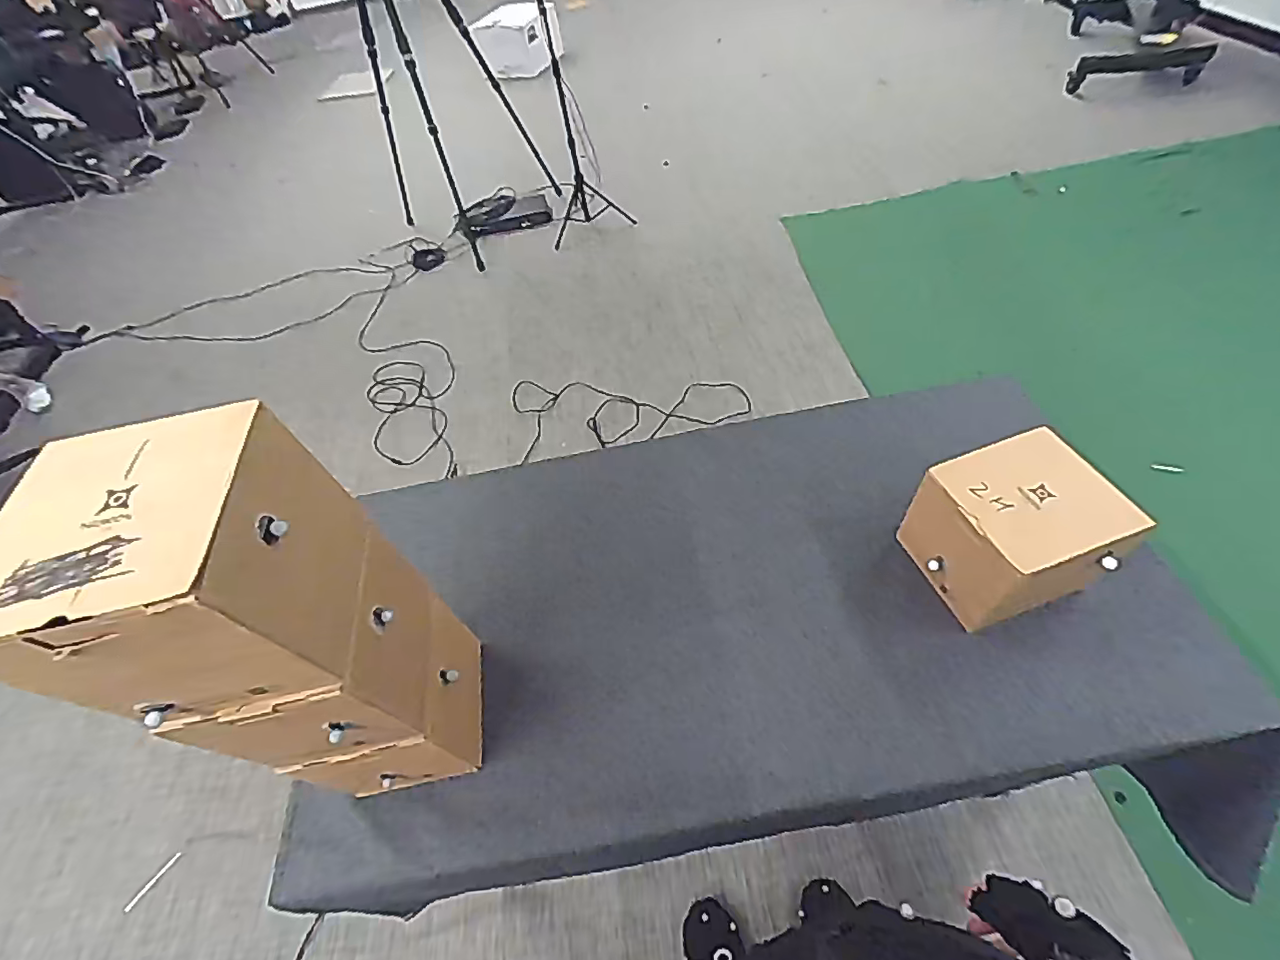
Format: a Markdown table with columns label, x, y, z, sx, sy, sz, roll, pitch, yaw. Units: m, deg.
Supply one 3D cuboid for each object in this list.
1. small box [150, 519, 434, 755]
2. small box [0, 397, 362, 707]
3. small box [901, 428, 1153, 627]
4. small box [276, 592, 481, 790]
| label | x | y | z | sx | sy | sz | roll | pitch | yaw |
| --- | --- | --- | --- | --- | --- | --- | --- | --- | --- |
| small box | -0.329 | 0.169 | 0.558 | 0.168 | 0.176 | 0.179 | -11 | 53 | -1 |
| small box | -0.349 | 0.066 | 0.432 | 0.168 | 0.176 | 0.179 | -12 | 52 | -2 |
| small box | 0.479 | 0.066 | 0.706 | 0.179 | 0.176 | 0.168 | -19 | 53 | -5 |
| small box | -0.310 | 0.269 | 0.685 | 0.168 | 0.176 | 0.179 | -12 | 53 | -1 |
